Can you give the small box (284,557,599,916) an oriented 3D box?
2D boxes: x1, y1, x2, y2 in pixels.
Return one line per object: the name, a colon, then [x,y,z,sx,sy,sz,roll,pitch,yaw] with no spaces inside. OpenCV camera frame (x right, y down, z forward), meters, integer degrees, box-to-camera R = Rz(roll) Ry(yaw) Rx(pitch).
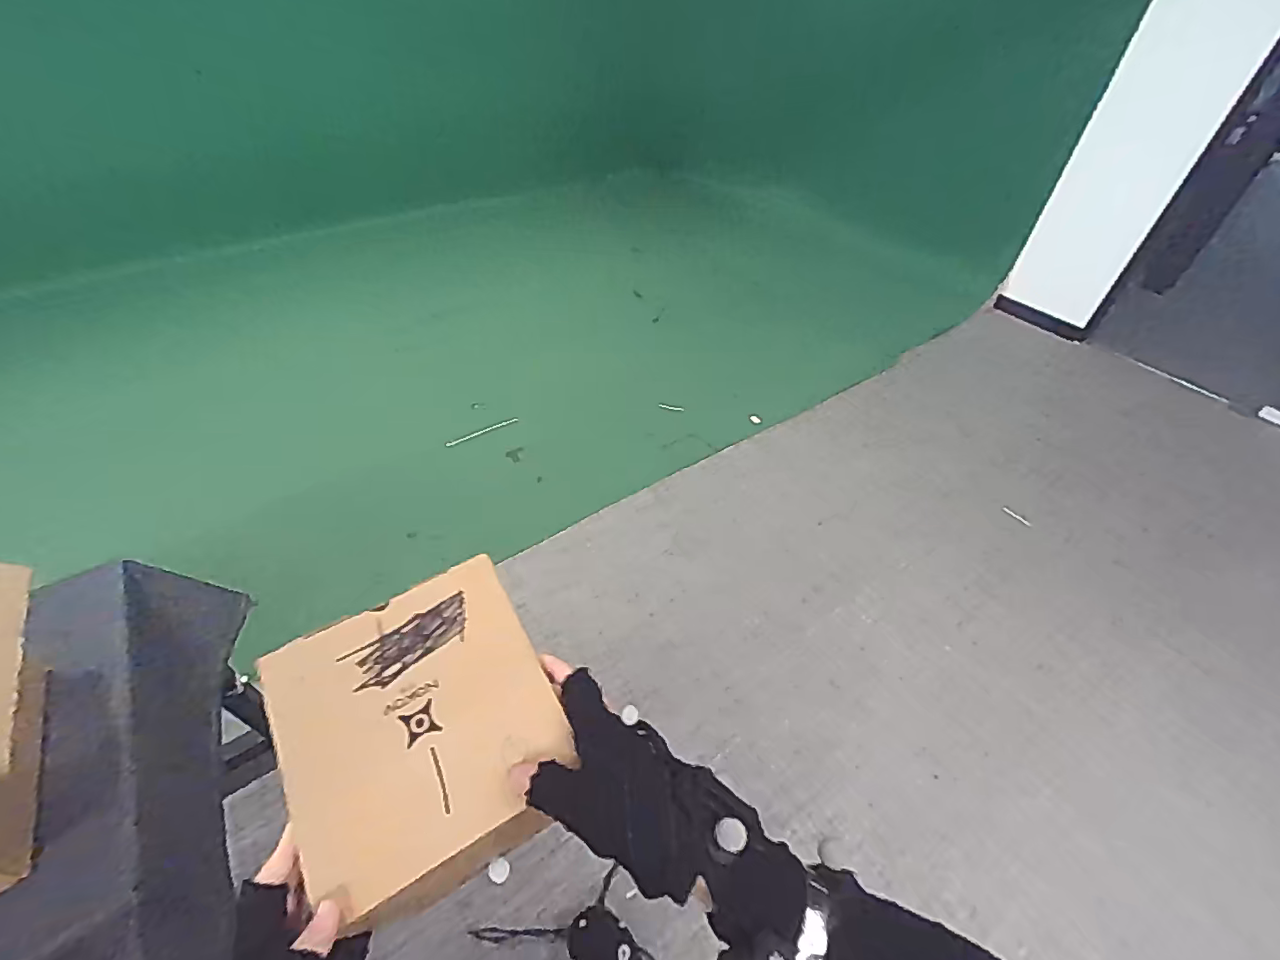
small box: [-0.143,0.198,0.426,0.168,0.176,0.179,-23,59,-19]
